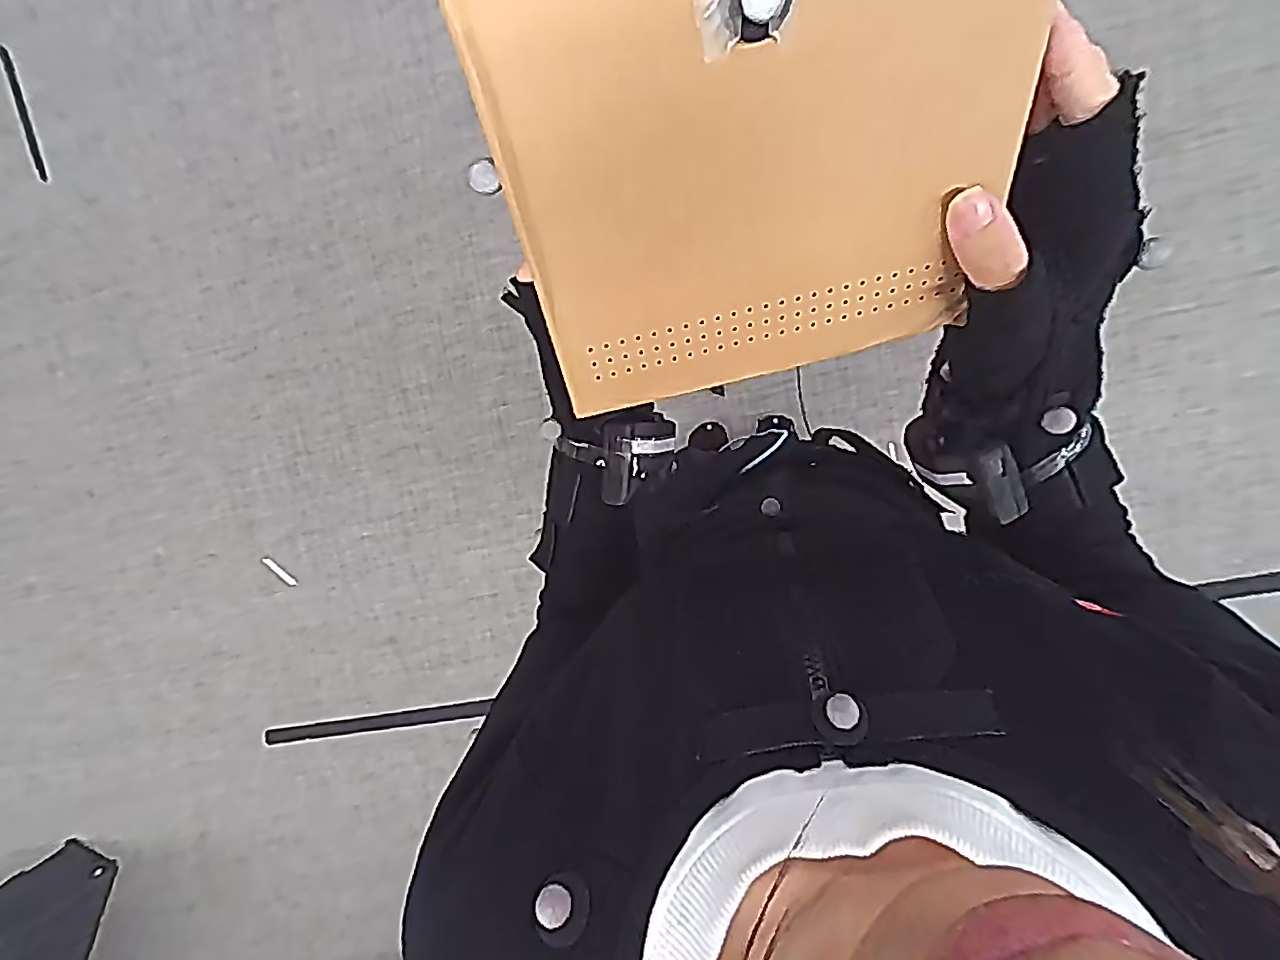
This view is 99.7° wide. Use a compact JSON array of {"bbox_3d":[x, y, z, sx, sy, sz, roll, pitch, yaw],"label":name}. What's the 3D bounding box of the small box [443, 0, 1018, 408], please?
[{"bbox_3d":[0.033,-0.152,0.240,0.179,0.168,0.176,-13,133,1],"label":"small box"}]
